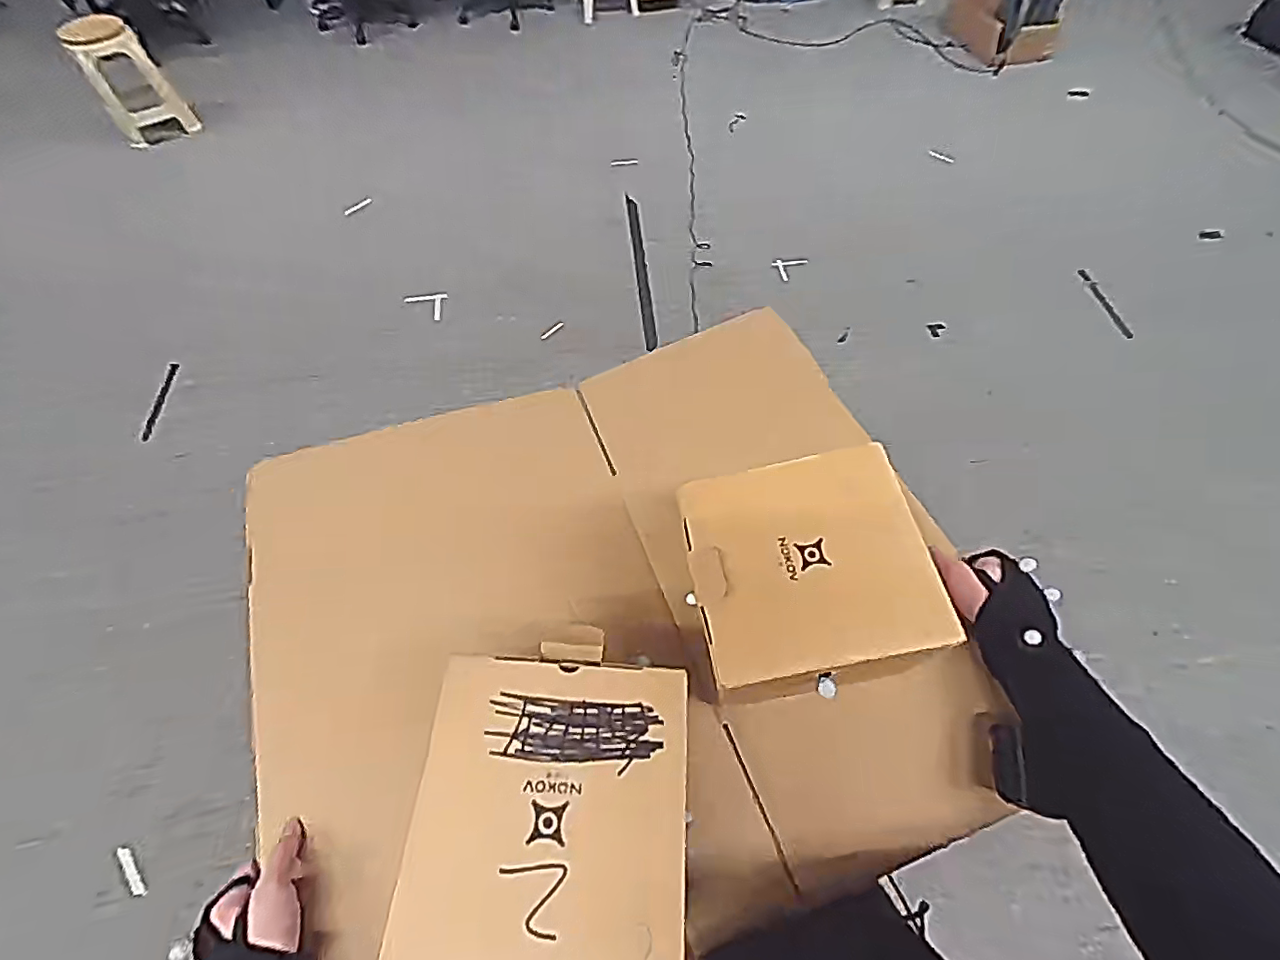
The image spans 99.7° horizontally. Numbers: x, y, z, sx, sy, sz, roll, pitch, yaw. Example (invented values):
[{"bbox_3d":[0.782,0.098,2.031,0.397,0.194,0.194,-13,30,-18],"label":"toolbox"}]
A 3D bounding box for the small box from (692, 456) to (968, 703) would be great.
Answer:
[{"bbox_3d":[0.151,0.101,0.496,0.179,0.176,0.168,-12,62,5],"label":"small box"}]
